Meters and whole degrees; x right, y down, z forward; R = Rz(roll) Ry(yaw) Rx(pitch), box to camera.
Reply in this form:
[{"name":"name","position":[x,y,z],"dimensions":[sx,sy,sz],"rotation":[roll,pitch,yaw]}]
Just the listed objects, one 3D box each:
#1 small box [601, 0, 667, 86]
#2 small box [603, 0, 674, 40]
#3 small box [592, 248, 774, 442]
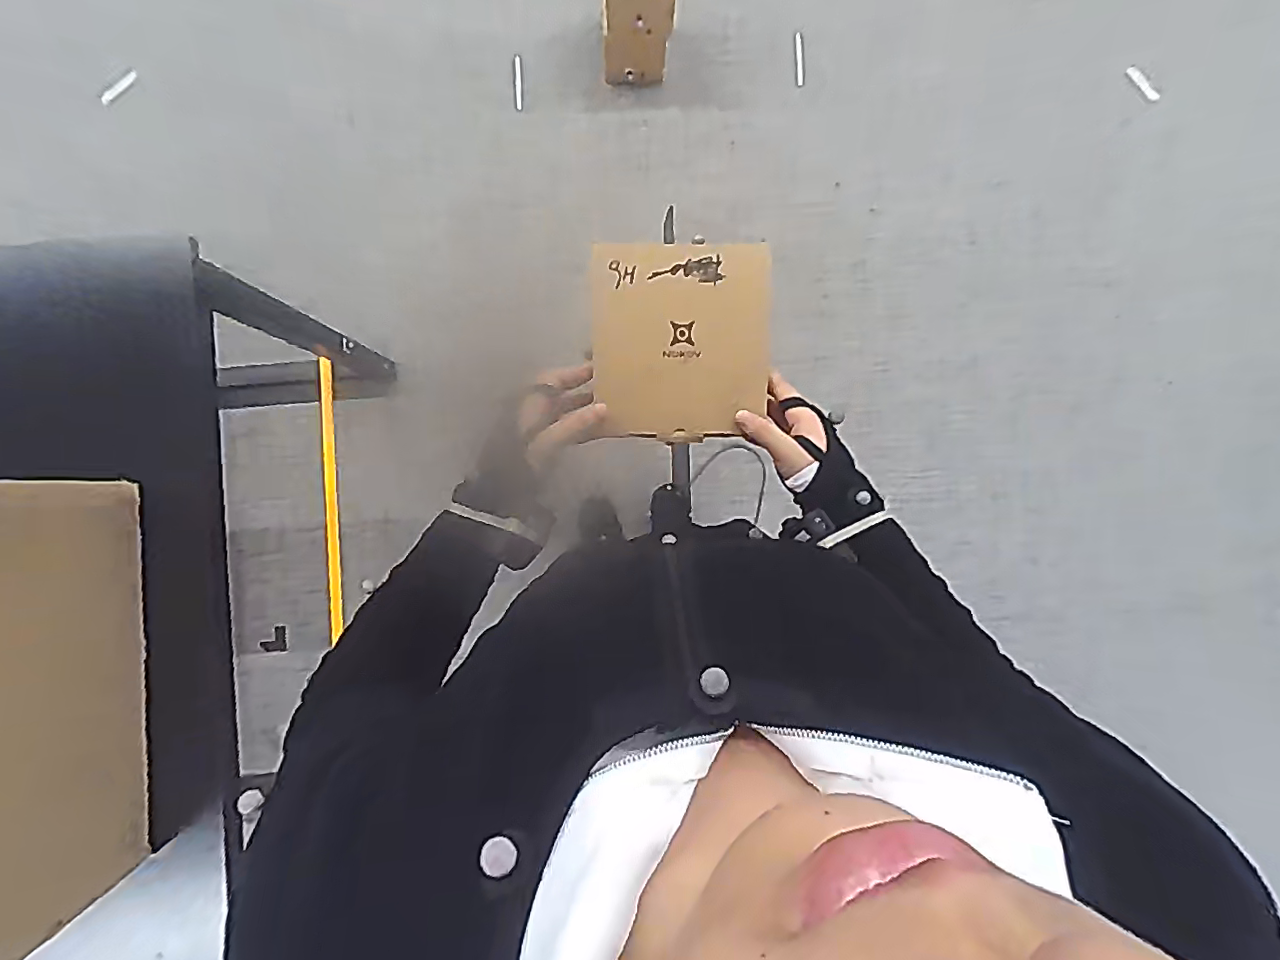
[{"name":"small box","position":[-0.020,-1.202,1.445],"dimensions":[0.168,0.176,0.179],"rotation":[-3,90,-1]},{"name":"small box","position":[-0.006,-1.196,1.280],"dimensions":[0.168,0.176,0.179],"rotation":[-3,89,-1]},{"name":"small box","position":[0.037,-0.138,0.577],"dimensions":[0.168,0.176,0.179],"rotation":[-1,101,-2]}]
